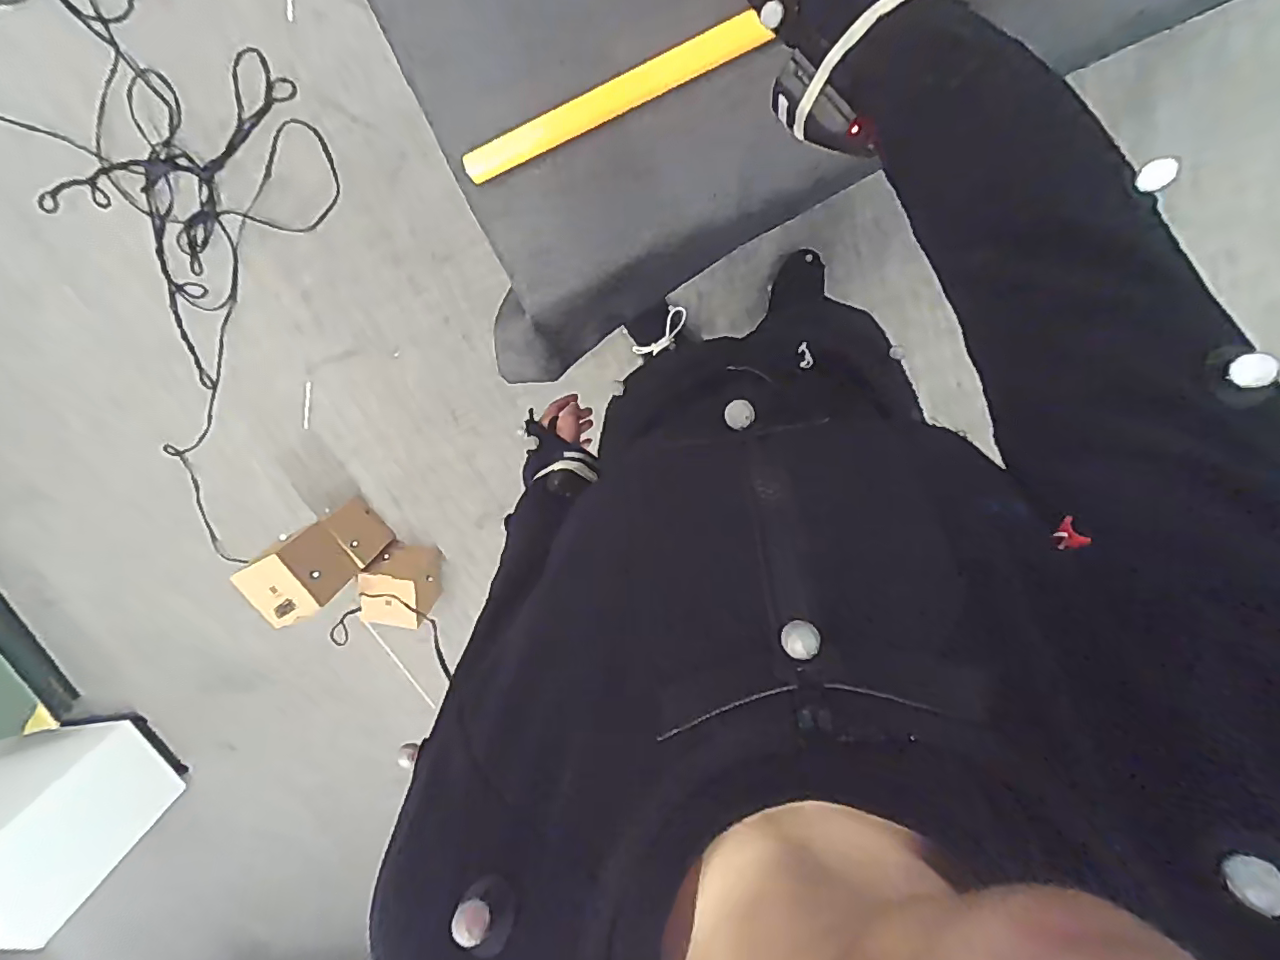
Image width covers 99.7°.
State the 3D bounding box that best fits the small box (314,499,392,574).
[{"bbox_3d":[-0.851,0.184,1.538,0.179,0.176,0.168,-29,108,18],"label":"small box"}]

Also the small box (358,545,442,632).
[{"bbox_3d":[-0.694,0.312,1.583,0.168,0.176,0.179,9,117,3],"label":"small box"}]

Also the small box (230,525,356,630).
[{"bbox_3d":[-0.877,0.247,1.387,0.168,0.176,0.179,-24,109,16],"label":"small box"}]
